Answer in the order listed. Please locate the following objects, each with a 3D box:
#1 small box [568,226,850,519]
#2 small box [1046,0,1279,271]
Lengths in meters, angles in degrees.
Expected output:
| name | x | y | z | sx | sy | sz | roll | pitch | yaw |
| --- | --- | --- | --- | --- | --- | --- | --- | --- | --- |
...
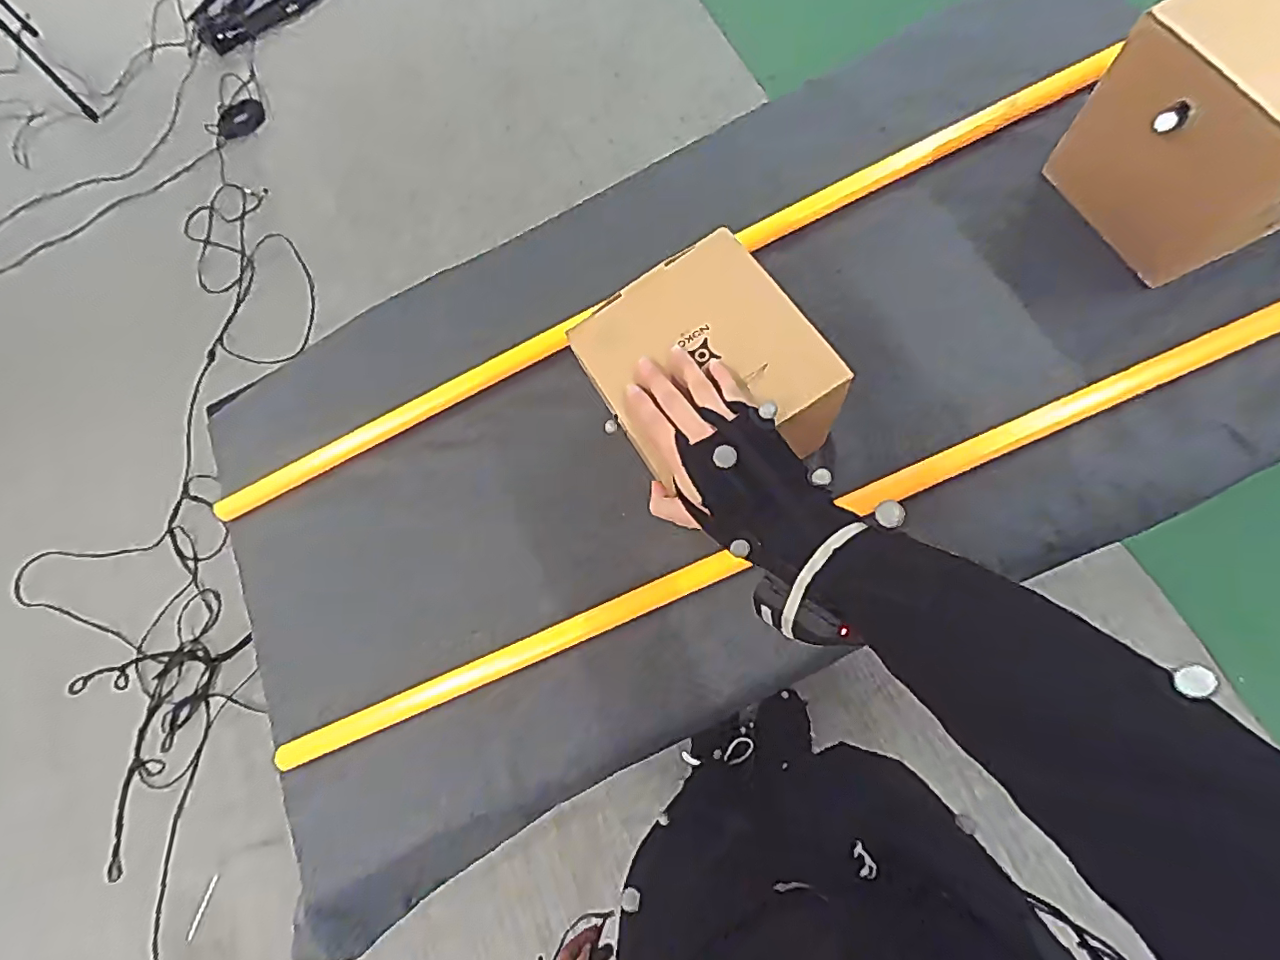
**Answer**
| name | x | y | z | sx | sy | sz | roll | pitch | yaw |
| --- | --- | --- | --- | --- | --- | --- | --- | --- | --- |
| small box | 0.062 | -0.085 | 0.508 | 0.168 | 0.176 | 0.179 | -34 | 72 | 1 |
| small box | 0.523 | -0.317 | 0.479 | 0.168 | 0.176 | 0.179 | -26 | 71 | 4 |
